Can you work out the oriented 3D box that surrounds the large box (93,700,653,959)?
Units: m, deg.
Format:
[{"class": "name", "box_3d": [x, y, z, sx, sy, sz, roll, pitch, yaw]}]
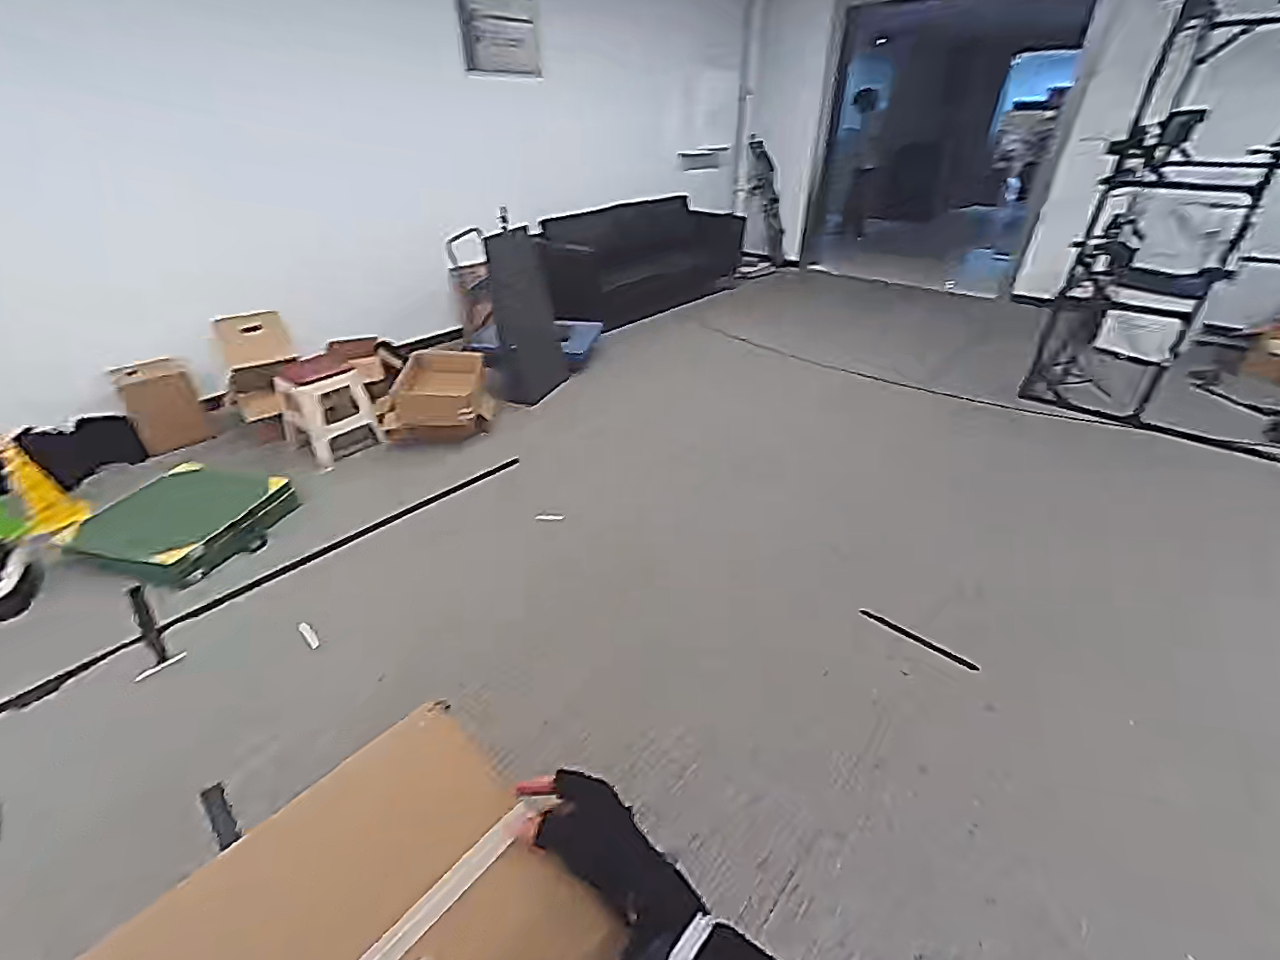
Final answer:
[{"class": "large box", "box_3d": [-0.240, 0.501, 0.466, 0.320, 0.320, 0.408, 32, 46, 29]}]
